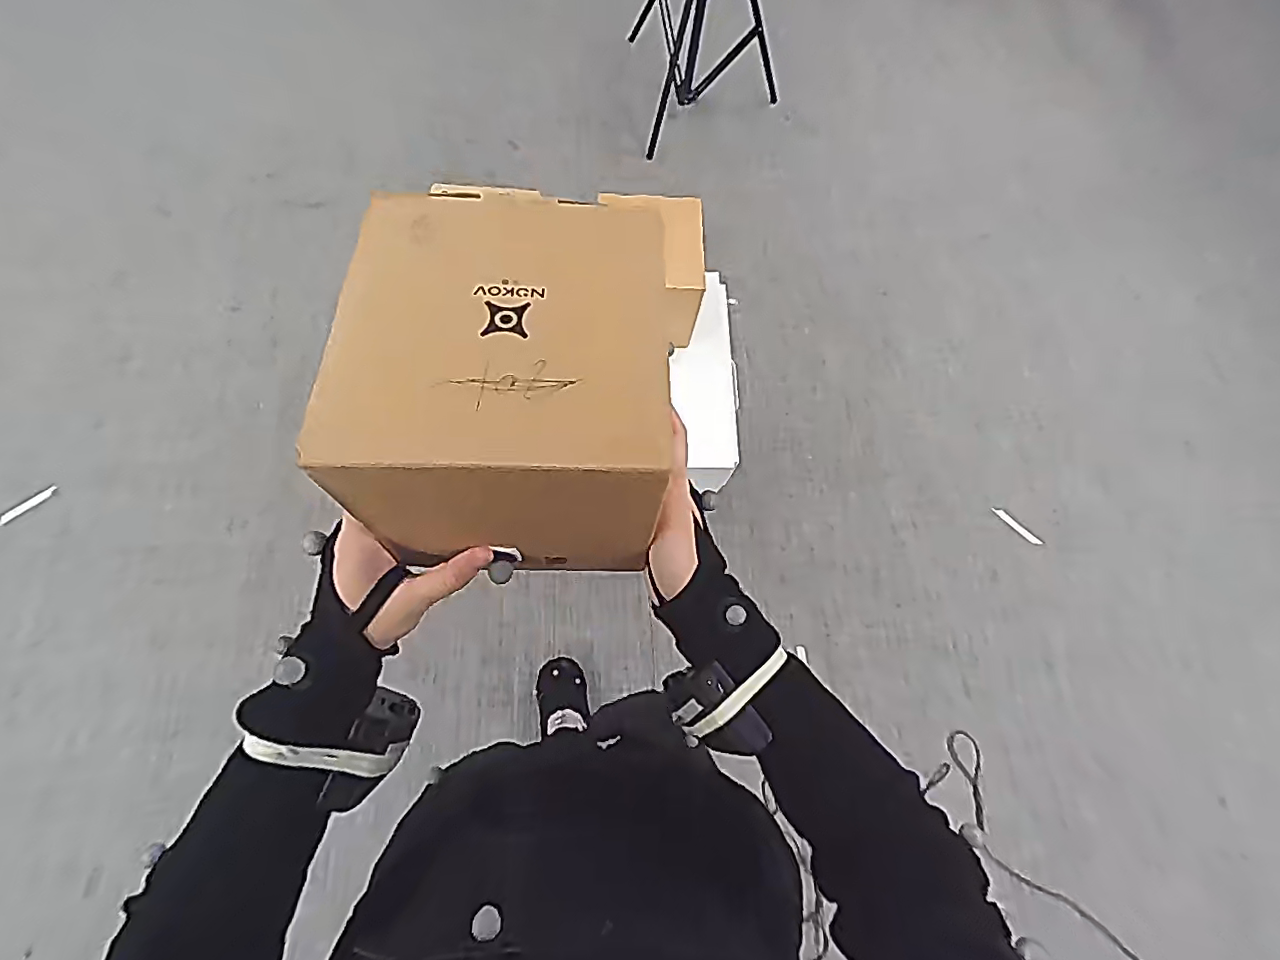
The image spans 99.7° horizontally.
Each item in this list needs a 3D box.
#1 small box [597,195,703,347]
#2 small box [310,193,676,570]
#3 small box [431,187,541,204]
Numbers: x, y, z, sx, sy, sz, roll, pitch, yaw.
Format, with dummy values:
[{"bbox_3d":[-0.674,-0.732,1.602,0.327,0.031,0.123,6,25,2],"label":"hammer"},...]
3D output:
[{"bbox_3d":[0.009,-0.339,0.904,0.168,0.176,0.179,1,71,-5],"label":"small box"},{"bbox_3d":[-0.072,-0.050,0.350,0.168,0.176,0.179,0,65,-4],"label":"small box"},{"bbox_3d":[-0.241,-0.338,0.879,0.168,0.176,0.179,1,73,-6],"label":"small box"}]
